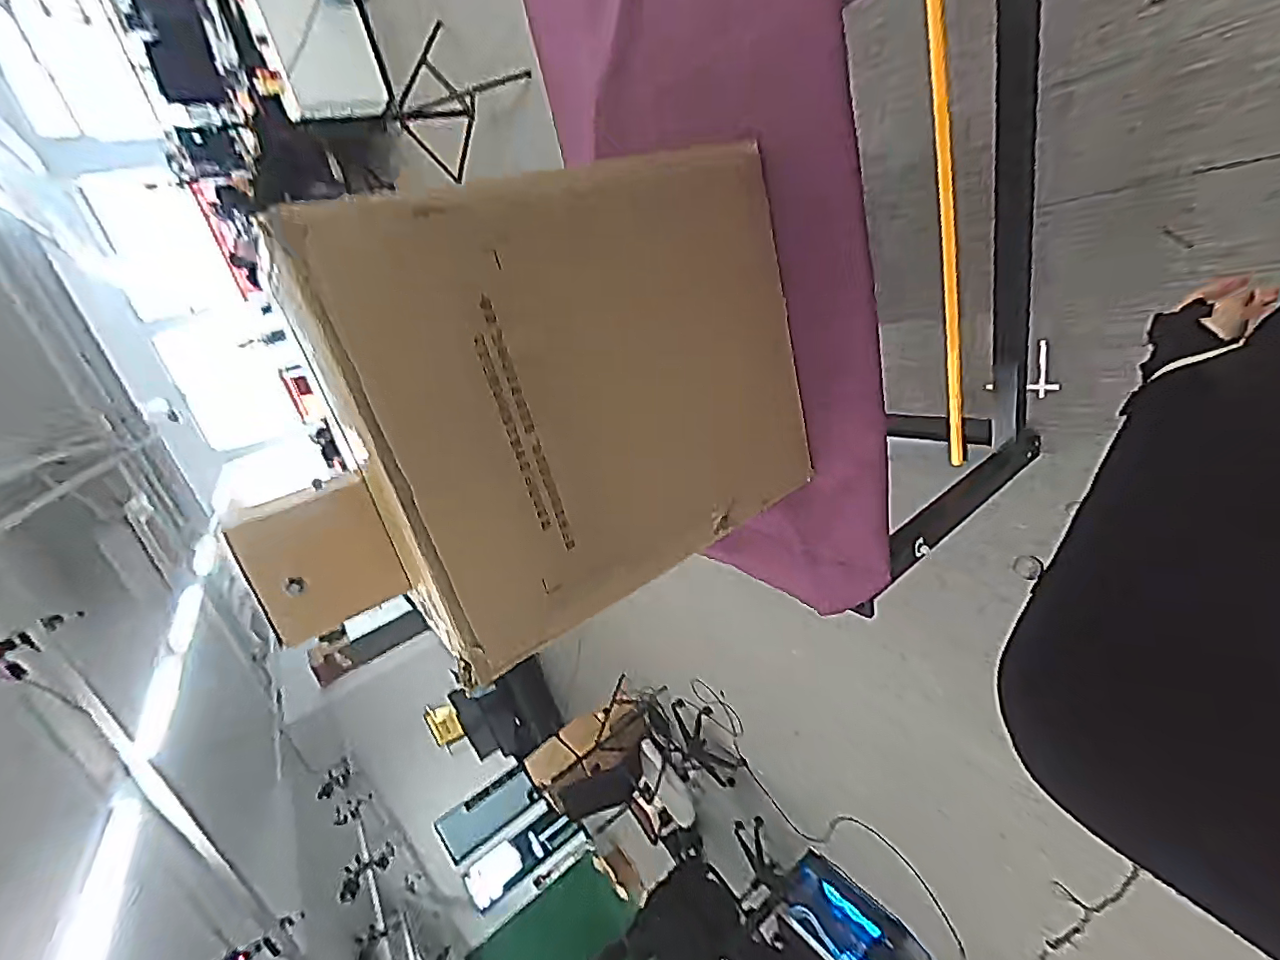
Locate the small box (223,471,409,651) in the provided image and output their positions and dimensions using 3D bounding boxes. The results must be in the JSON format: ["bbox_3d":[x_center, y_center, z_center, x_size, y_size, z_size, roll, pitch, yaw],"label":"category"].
[{"bbox_3d":[-0.454,0.104,0.775,0.168,0.176,0.179,10,121,56],"label":"small box"}]
